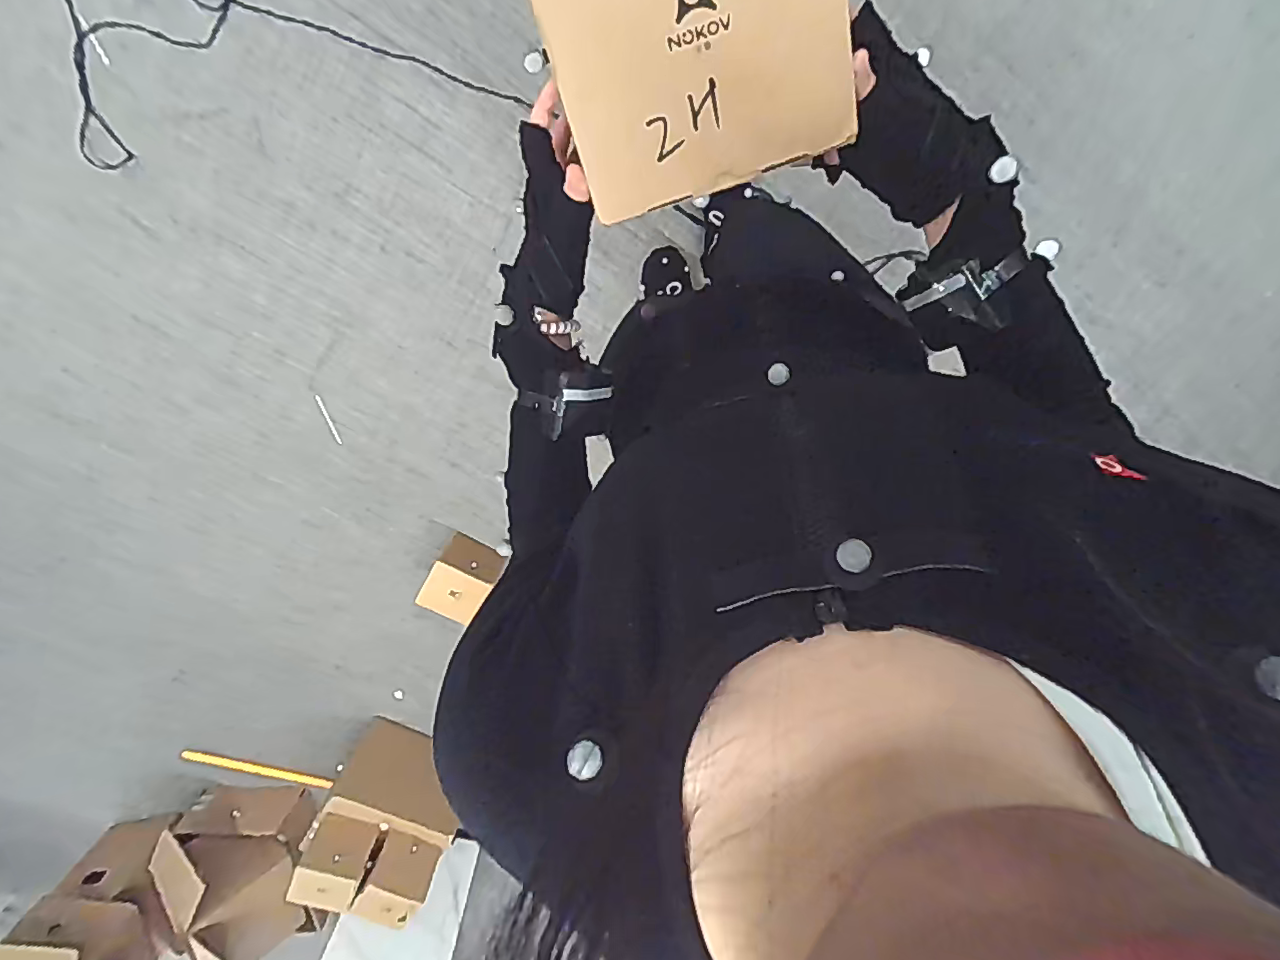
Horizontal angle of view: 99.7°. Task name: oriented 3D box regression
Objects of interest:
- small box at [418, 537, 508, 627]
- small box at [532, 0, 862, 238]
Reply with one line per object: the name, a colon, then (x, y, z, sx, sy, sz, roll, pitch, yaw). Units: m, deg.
small box: (-0.512, 0.290, 1.584, 0.179, 0.176, 0.168, 29, 110, -13)
small box: (0.026, -0.280, 0.358, 0.168, 0.176, 0.179, -16, 119, 5)
